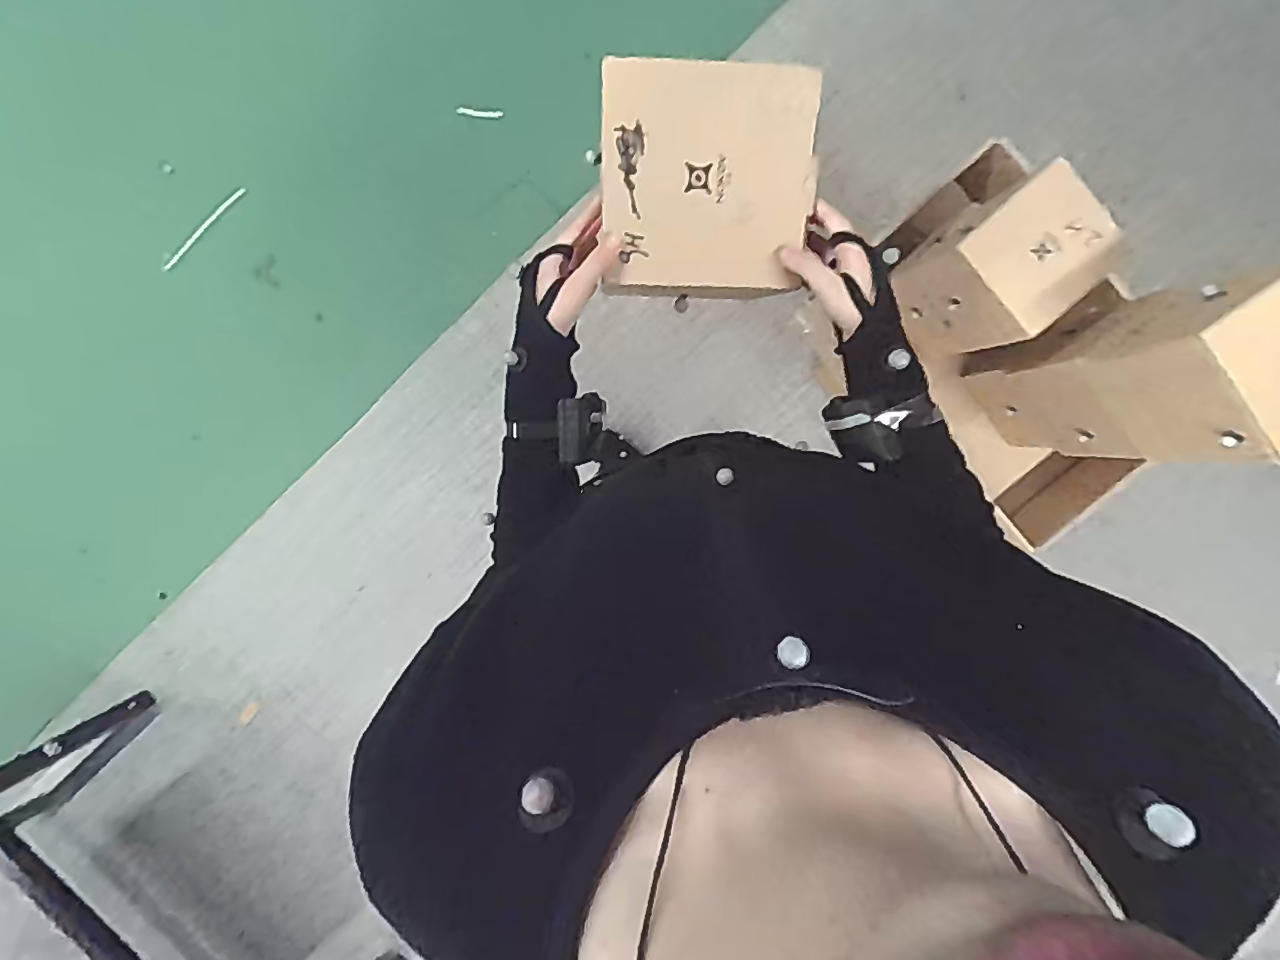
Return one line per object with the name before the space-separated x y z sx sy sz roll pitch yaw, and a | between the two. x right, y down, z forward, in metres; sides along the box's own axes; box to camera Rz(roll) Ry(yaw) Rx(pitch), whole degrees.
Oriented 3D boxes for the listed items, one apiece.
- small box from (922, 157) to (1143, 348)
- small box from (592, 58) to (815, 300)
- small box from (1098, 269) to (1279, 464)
small box | 0.551 -0.315 0.795 0.179 0.176 0.168 -41 94 6
small box | 0.044 -0.264 0.515 0.179 0.176 0.168 0 106 -4
small box | 0.718 -0.132 0.648 0.168 0.176 0.179 -35 93 5
